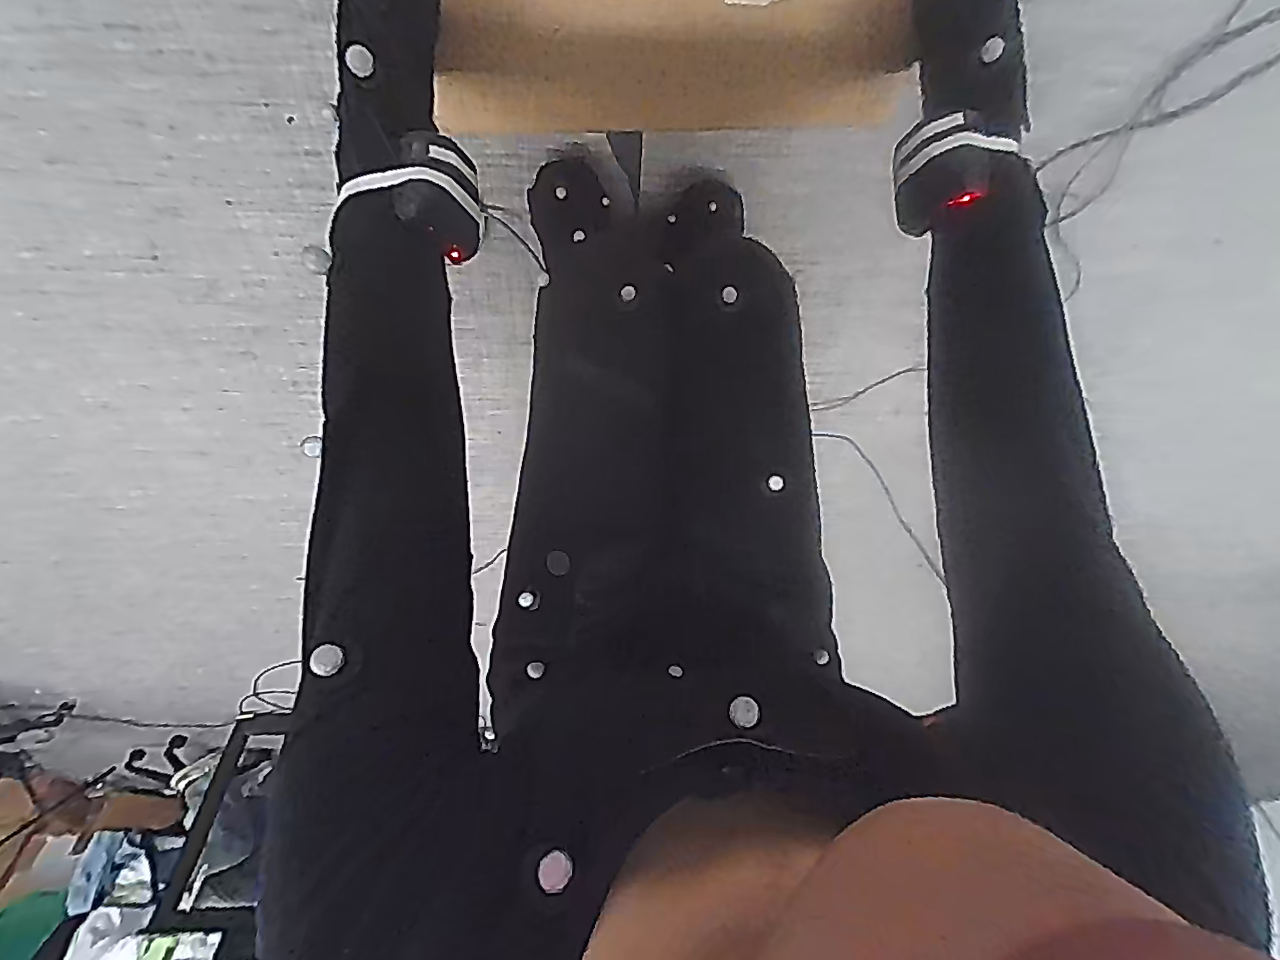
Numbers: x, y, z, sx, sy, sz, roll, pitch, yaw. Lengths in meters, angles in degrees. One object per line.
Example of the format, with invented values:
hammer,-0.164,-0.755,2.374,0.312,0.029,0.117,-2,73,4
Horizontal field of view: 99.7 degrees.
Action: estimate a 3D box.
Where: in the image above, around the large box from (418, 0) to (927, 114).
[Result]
large box,0.018,-0.537,0.444,0.408,0.320,0.320,-3,142,-2
